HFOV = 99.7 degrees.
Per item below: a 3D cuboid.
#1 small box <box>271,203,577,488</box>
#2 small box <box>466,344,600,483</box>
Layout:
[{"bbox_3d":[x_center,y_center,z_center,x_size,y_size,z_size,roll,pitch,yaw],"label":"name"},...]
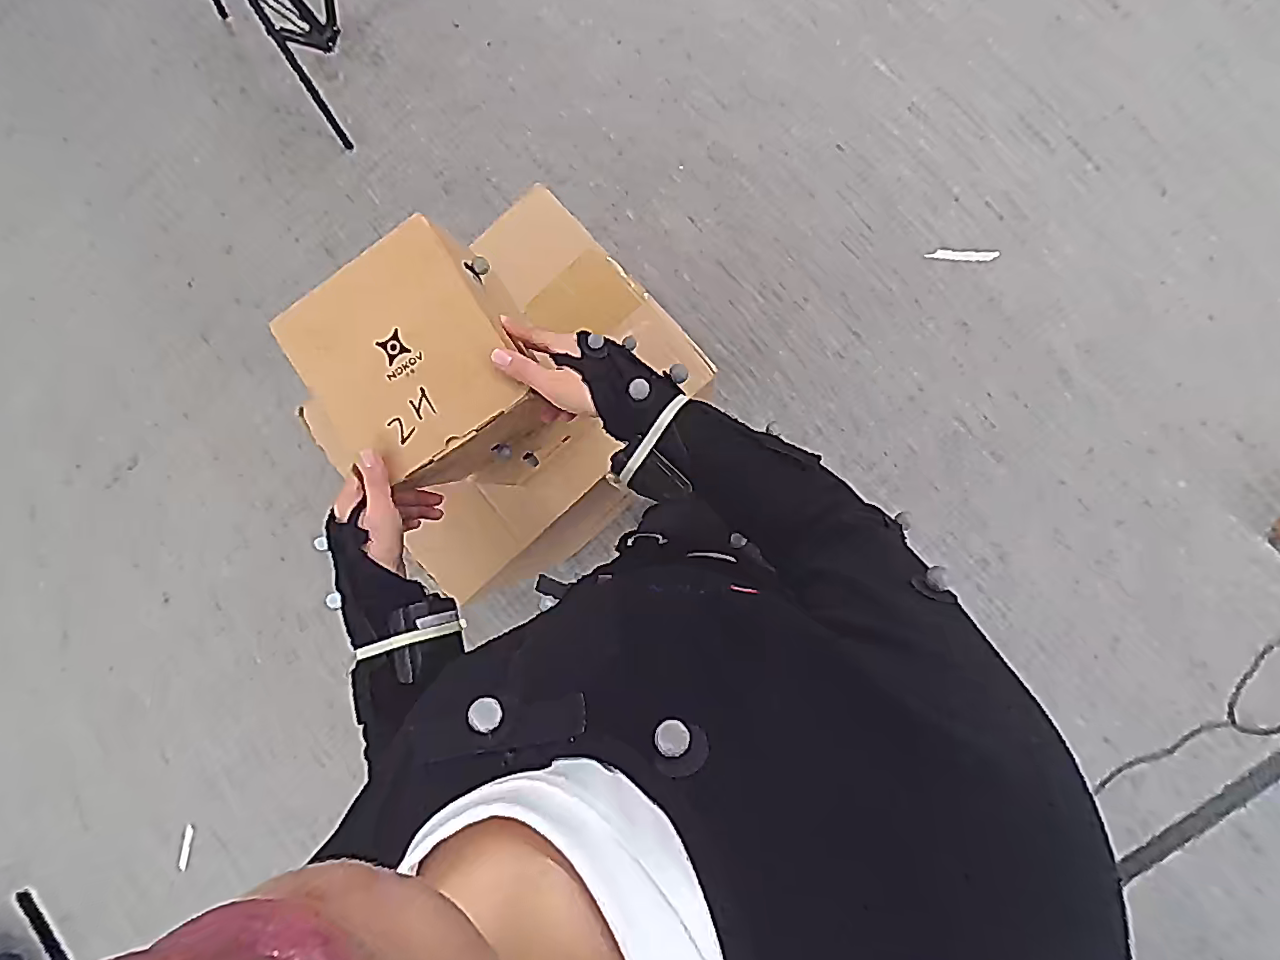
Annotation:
[{"bbox_3d":[-0.182,-0.110,0.511,0.168,0.176,0.179,-31,91,8],"label":"small box"},{"bbox_3d":[-0.174,-0.112,0.705,0.168,0.176,0.179,-40,83,4],"label":"small box"}]
